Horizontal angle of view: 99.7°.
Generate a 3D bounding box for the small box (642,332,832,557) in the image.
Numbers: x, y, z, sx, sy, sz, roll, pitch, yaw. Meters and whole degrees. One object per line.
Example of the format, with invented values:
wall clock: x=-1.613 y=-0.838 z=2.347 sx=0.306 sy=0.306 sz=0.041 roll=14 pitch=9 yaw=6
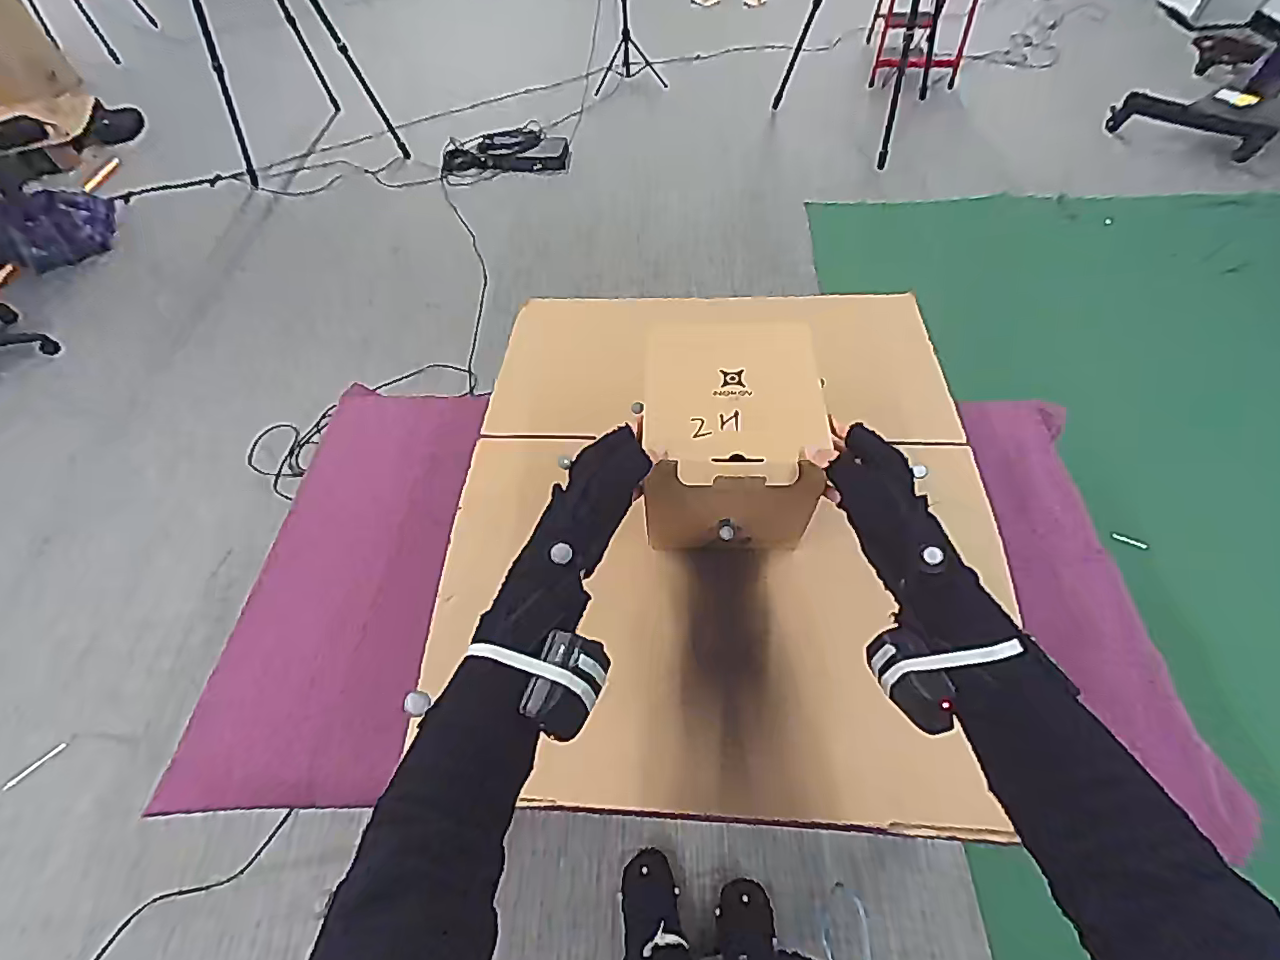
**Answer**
small box: x=0.091 y=-0.035 z=0.574 sx=0.168 sy=0.176 sz=0.179 roll=0 pitch=57 yaw=5
